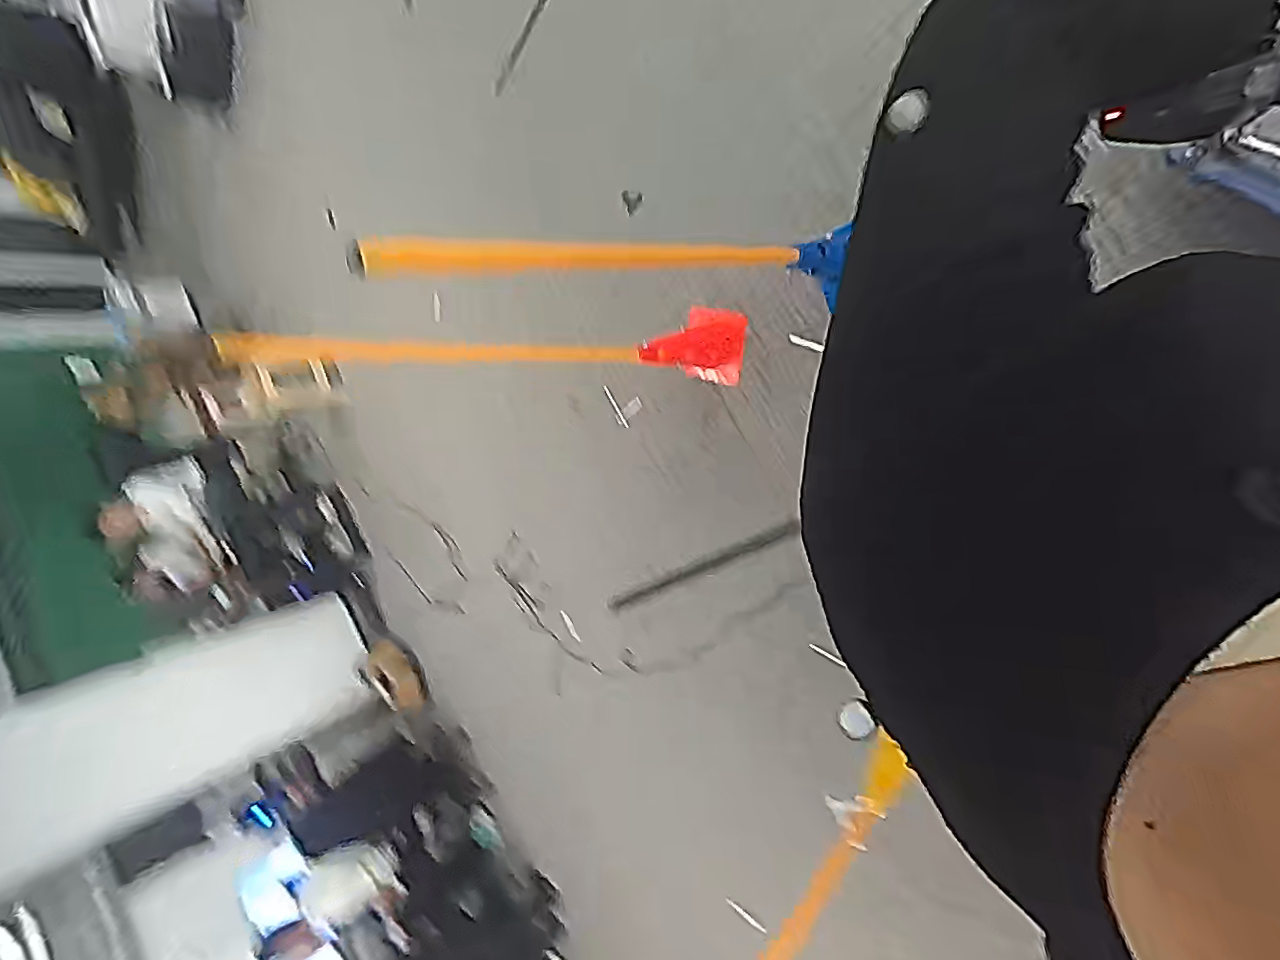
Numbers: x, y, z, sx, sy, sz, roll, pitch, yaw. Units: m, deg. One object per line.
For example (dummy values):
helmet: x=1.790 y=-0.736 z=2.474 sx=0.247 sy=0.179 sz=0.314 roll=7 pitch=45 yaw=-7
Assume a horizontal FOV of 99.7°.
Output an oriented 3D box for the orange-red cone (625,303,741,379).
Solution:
orange-red cone: x=0.091 y=-0.366 z=1.466 sx=0.199 sy=0.360 sz=0.198 roll=24 pitch=119 yaw=33

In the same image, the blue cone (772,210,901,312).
blue cone: x=0.400 y=-0.478 z=1.168 sx=0.192 sy=0.380 sz=0.193 roll=-13 pitch=95 yaw=45
